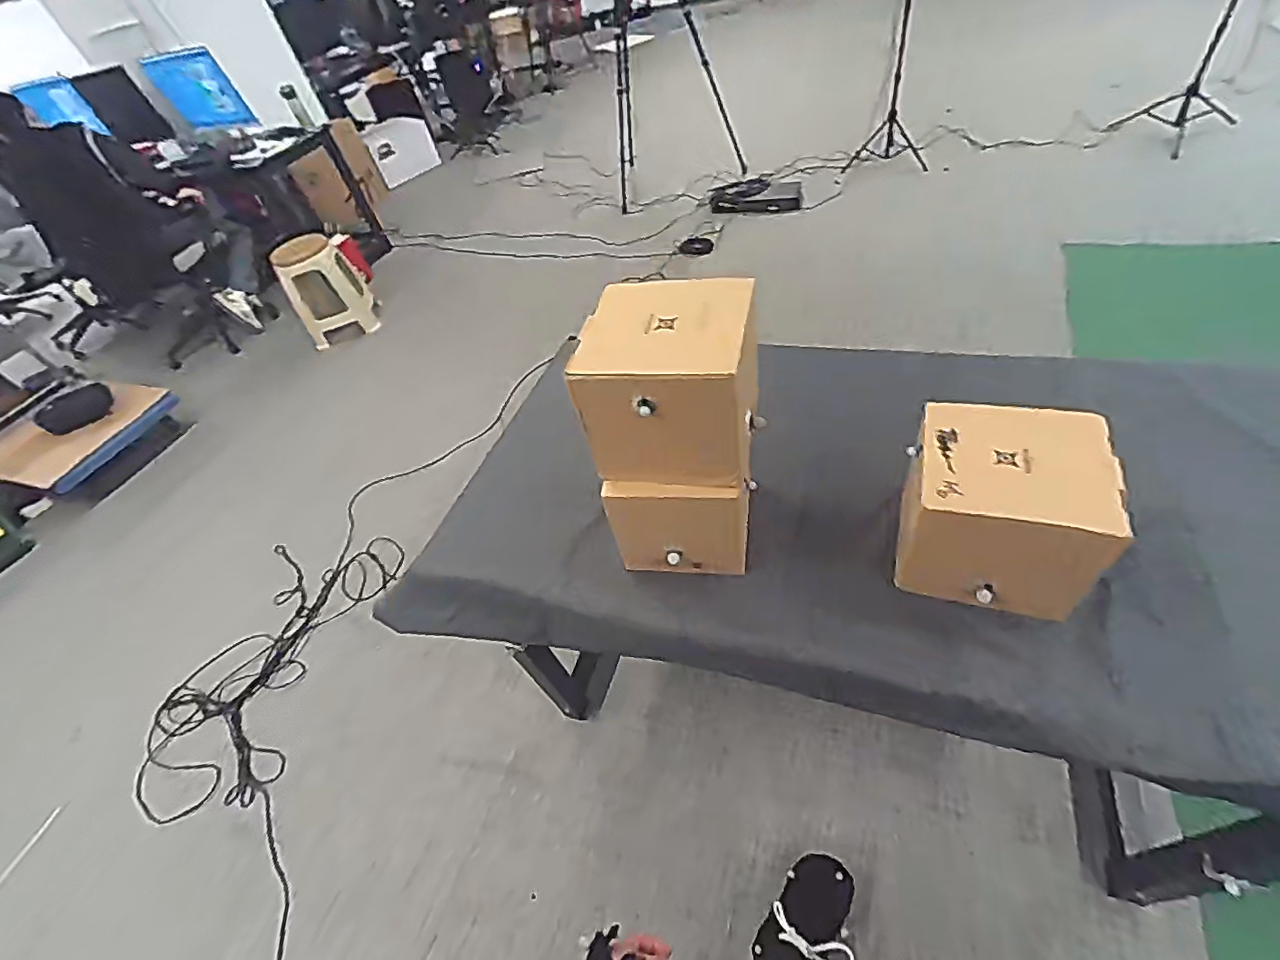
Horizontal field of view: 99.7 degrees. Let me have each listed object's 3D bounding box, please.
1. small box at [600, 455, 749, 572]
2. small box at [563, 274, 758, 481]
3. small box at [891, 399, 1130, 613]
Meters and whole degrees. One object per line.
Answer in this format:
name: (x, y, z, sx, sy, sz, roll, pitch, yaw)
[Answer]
small box: (0.059, 0.003, 0.732, 0.168, 0.176, 0.179, 1, 50, 14)
small box: (0.038, -0.114, 0.619, 0.179, 0.176, 0.168, 5, 52, 16)
small box: (0.405, 0.032, 0.622, 0.179, 0.176, 0.168, 10, 52, 21)
